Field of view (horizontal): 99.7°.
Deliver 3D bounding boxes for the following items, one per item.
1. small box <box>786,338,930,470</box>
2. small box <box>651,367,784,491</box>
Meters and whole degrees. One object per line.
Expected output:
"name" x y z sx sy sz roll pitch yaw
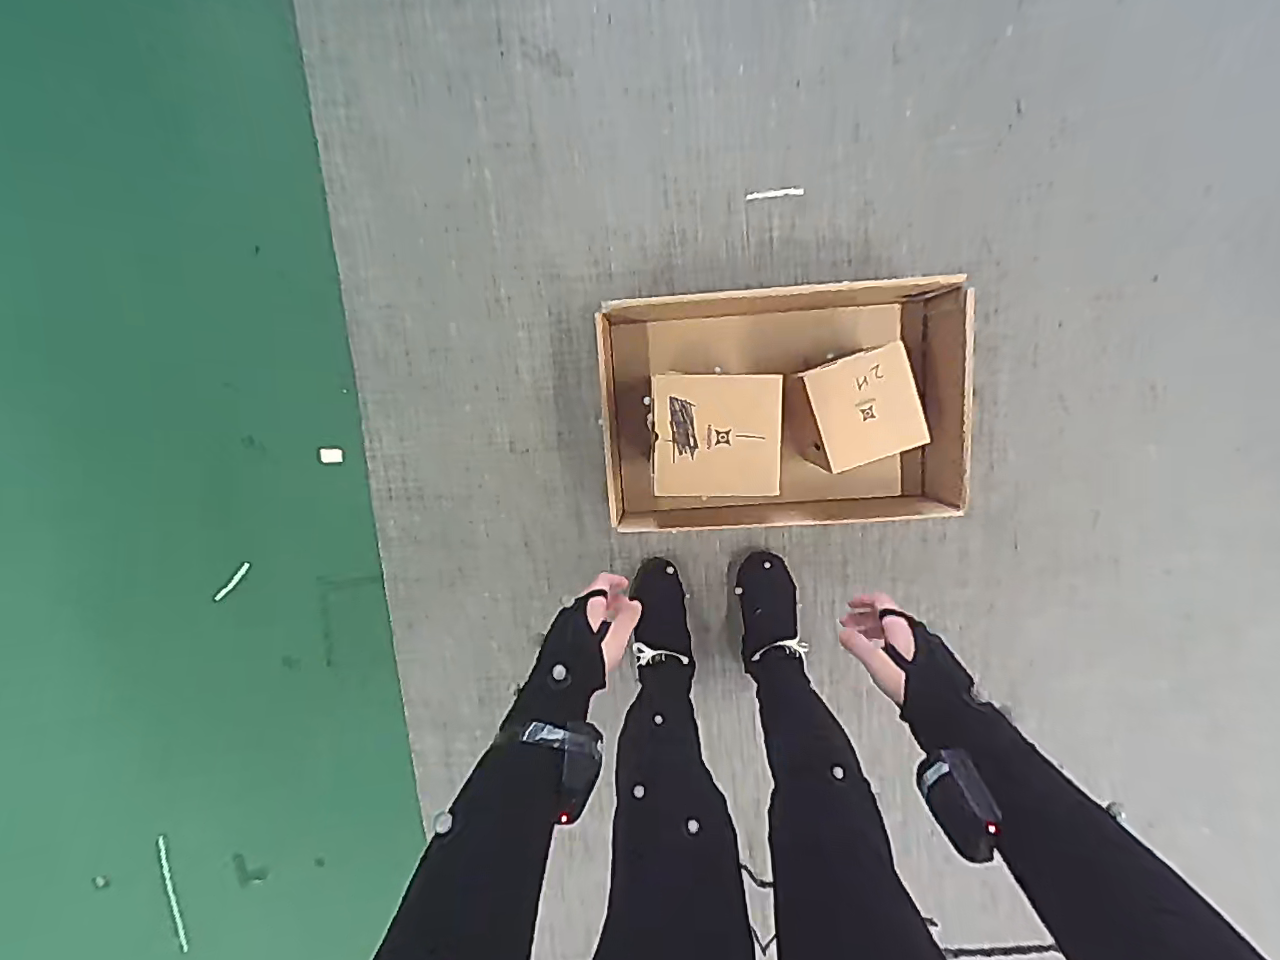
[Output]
"small box" 0.371 -0.133 0.948 0.168 0.176 0.179 -18 97 5
"small box" 0.105 -0.077 0.804 0.179 0.176 0.168 0 98 1
